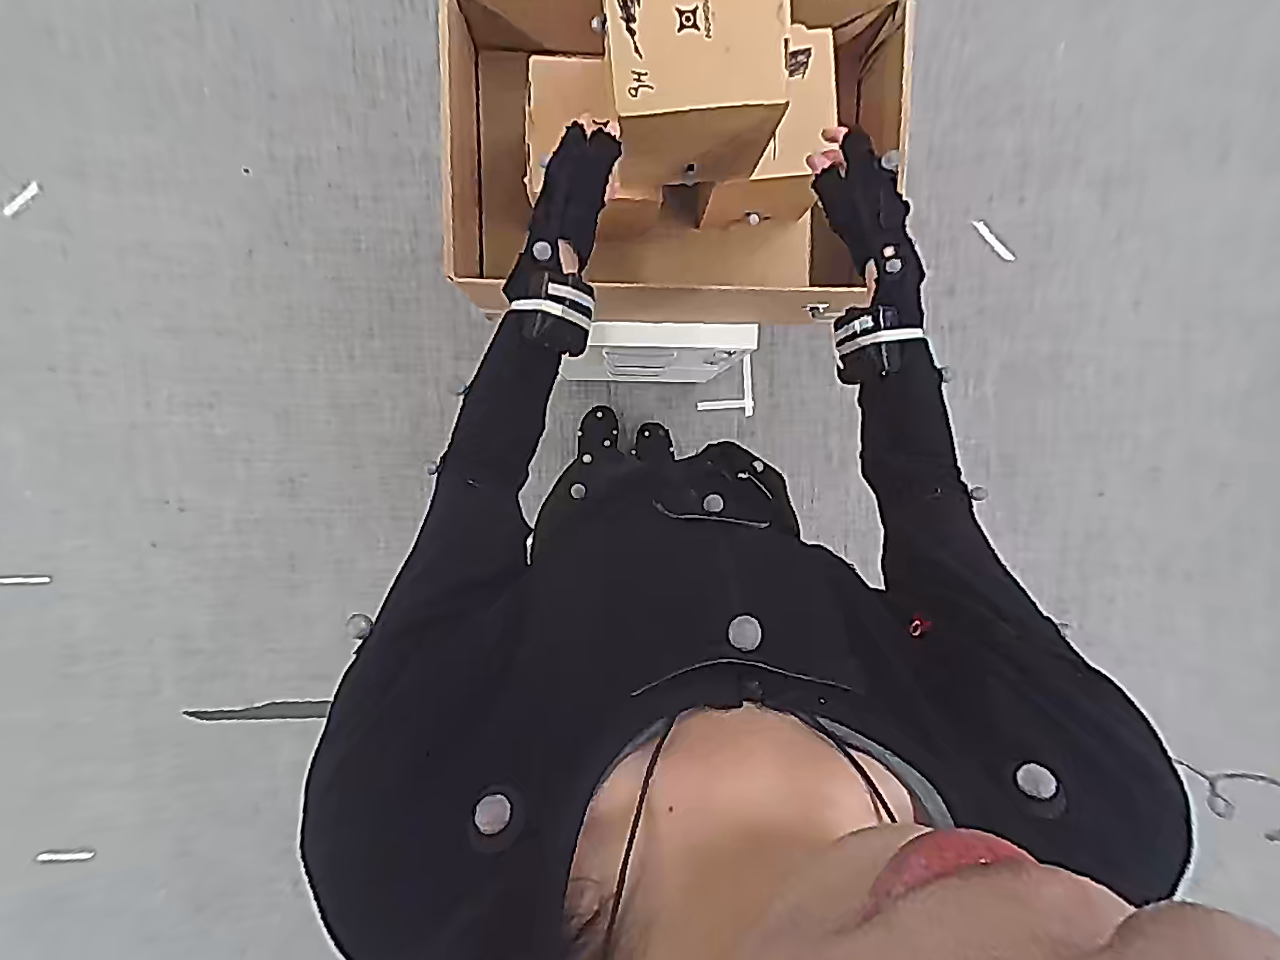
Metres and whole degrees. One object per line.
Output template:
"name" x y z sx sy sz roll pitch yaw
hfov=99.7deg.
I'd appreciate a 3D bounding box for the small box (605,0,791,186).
"small box" 0.054 -0.452 0.604 0.179 0.176 0.168 -5 96 -2
